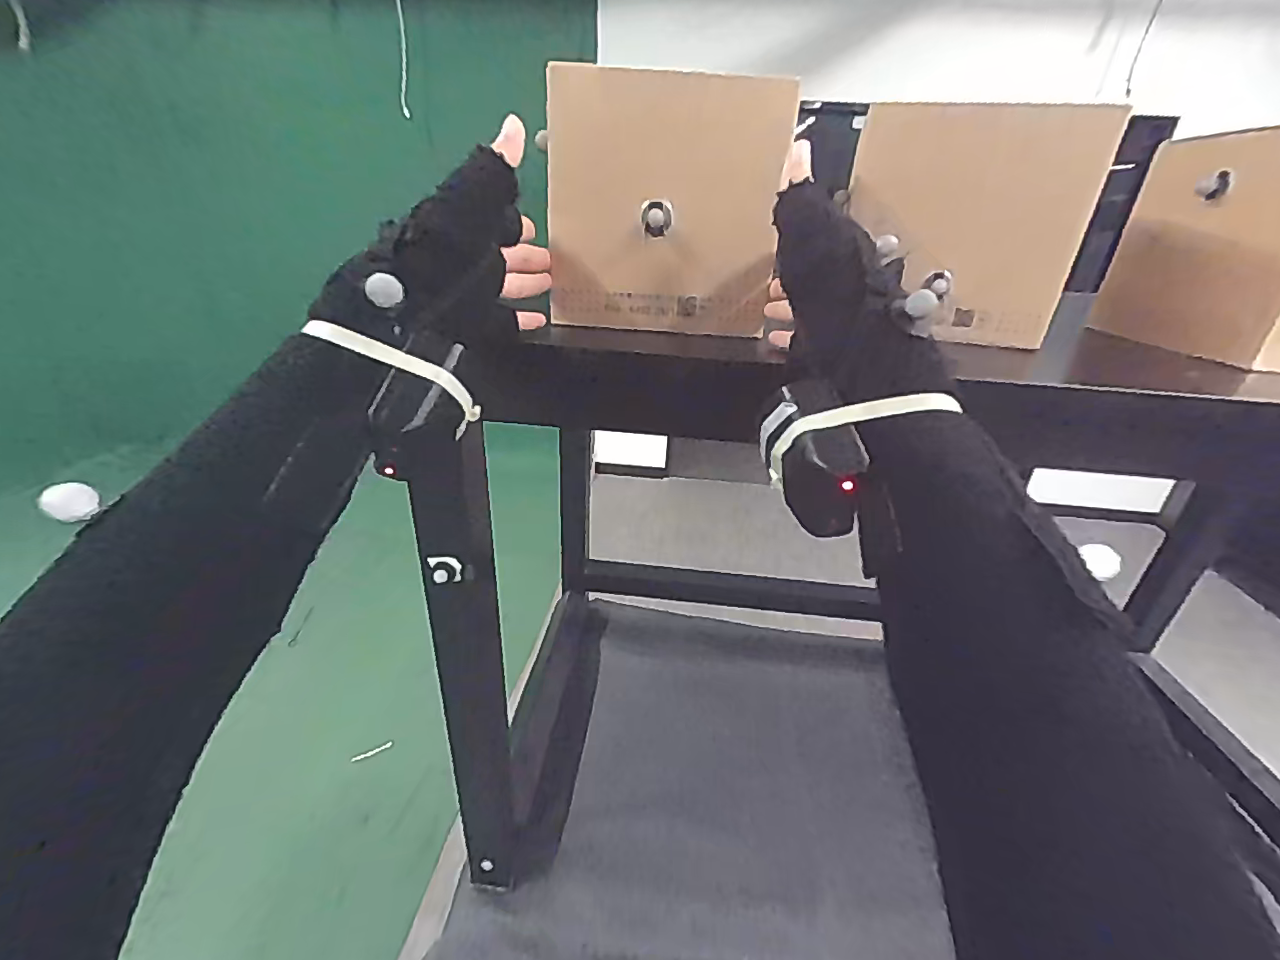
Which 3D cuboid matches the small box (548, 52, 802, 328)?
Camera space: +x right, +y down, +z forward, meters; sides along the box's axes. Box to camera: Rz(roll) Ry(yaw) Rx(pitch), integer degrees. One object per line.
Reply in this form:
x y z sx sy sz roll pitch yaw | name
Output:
0.024 -0.229 0.451 0.168 0.176 0.179 5 26 1 | small box

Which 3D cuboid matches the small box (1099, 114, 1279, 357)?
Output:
0.539 -0.190 0.436 0.168 0.176 0.179 3 26 0 | small box
